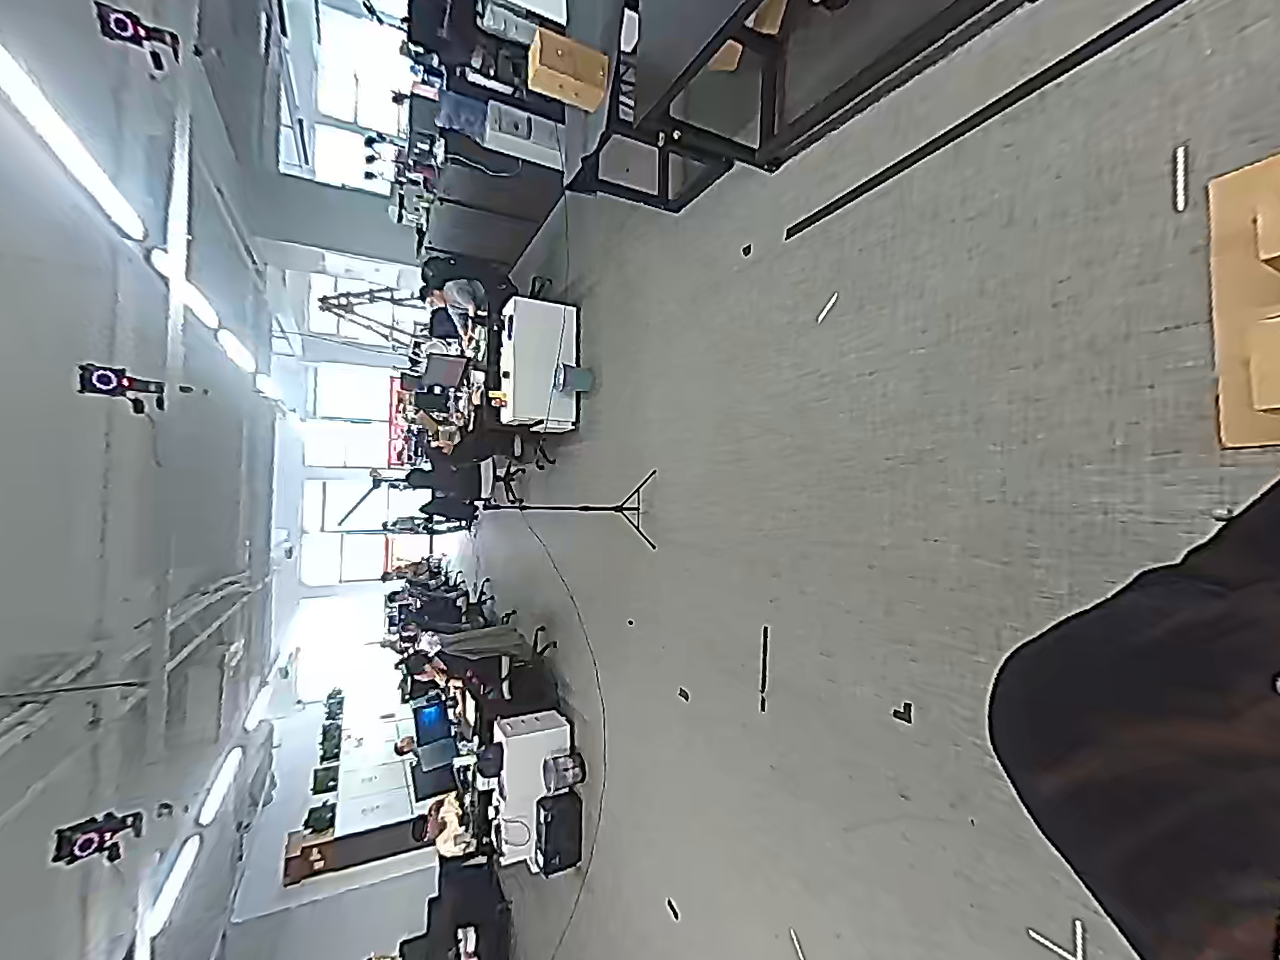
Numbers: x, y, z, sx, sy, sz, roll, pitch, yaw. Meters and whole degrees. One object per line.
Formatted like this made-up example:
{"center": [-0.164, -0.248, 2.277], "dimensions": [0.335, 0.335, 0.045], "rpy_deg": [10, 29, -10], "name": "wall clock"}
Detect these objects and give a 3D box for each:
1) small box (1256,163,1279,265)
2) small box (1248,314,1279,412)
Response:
{"center": [1.297, -0.510, 1.004], "dimensions": [0.168, 0.176, 0.179], "rpy_deg": [-6, 84, 63], "name": "small box"}
{"center": [1.286, -0.225, 1.009], "dimensions": [0.168, 0.176, 0.179], "rpy_deg": [-7, 83, 63], "name": "small box"}
